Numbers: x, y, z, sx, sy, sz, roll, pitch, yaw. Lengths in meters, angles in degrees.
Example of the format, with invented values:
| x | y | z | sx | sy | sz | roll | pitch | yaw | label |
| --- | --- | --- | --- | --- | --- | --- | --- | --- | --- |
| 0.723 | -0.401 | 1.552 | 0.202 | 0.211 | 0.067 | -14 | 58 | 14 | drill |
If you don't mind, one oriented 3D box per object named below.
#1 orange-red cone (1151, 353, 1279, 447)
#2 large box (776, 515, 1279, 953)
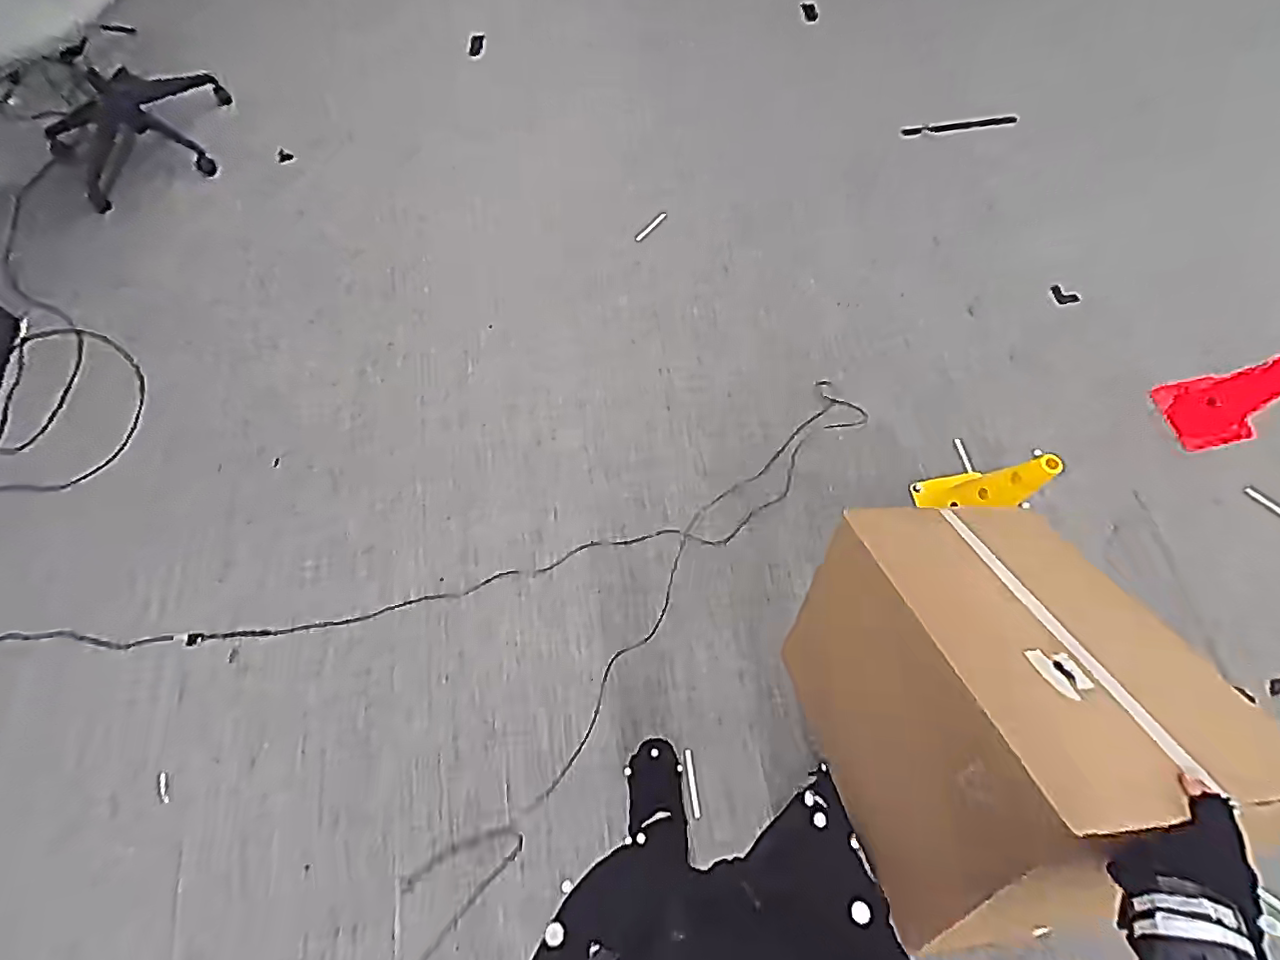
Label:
| x | y | z | sx | sy | sz | roll | pitch | yaw | label |
| --- | --- | --- | --- | --- | --- | --- | --- | --- | --- |
| 1.509 | -0.248 | 1.307 | 0.199 | 0.360 | 0.198 | -12 | 69 | 0 | orange-red cone |
| 0.427 | 0.291 | 0.697 | 0.320 | 0.320 | 0.408 | 1 | 37 | -12 | large box |
